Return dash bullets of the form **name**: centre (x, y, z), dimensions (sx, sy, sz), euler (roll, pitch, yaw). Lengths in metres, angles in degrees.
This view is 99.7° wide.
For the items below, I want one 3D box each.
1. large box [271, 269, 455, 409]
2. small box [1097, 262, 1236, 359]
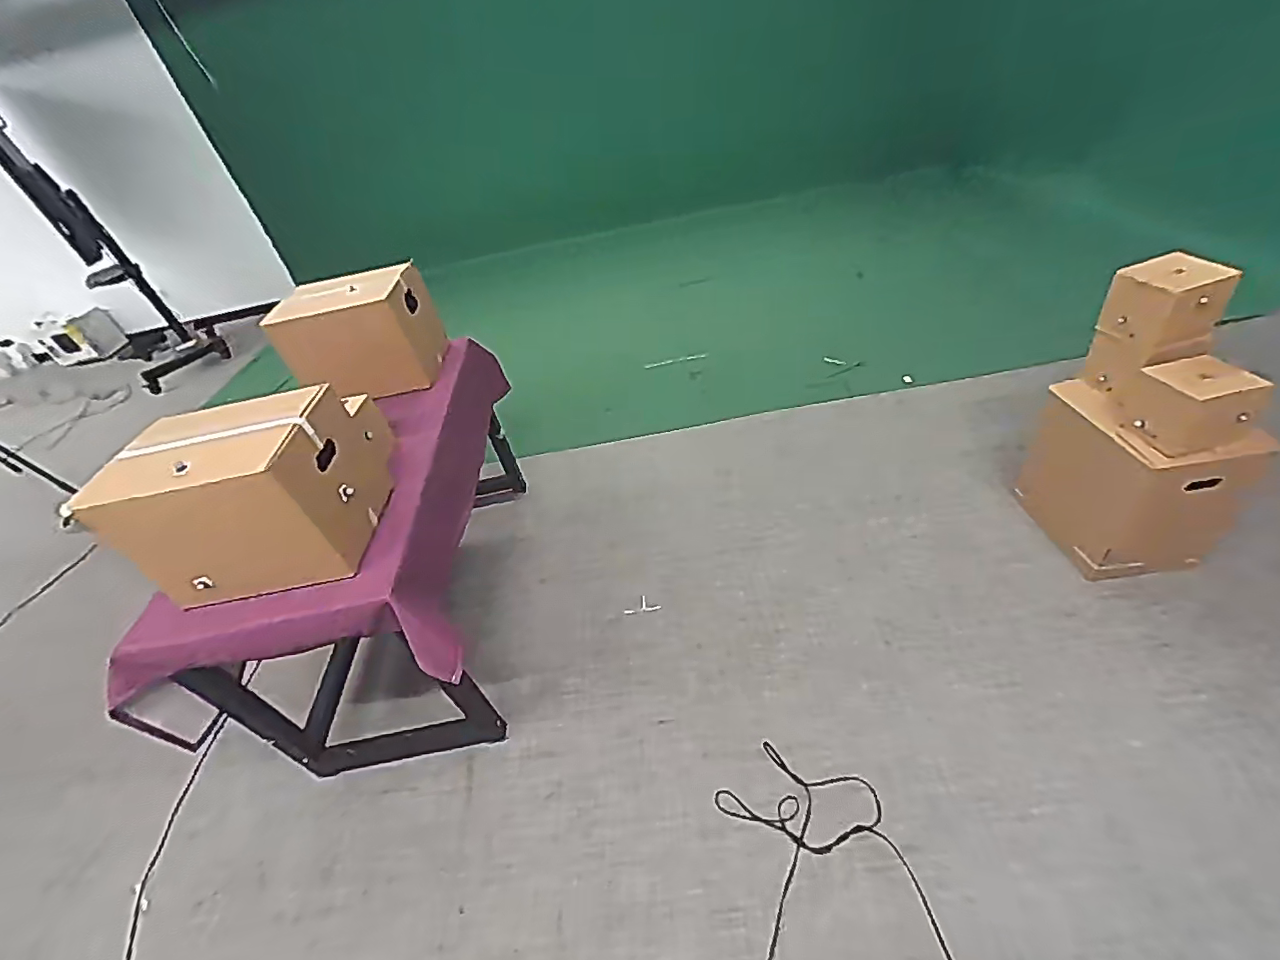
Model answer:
- **large box**: centre (-0.896, -0.473, 1.812), dimensions (0.408, 0.320, 0.320), euler (-9, 40, 4)
- **small box**: centre (1.371, -0.446, 1.425), dimensions (0.179, 0.176, 0.168), euler (-17, 41, -2)
